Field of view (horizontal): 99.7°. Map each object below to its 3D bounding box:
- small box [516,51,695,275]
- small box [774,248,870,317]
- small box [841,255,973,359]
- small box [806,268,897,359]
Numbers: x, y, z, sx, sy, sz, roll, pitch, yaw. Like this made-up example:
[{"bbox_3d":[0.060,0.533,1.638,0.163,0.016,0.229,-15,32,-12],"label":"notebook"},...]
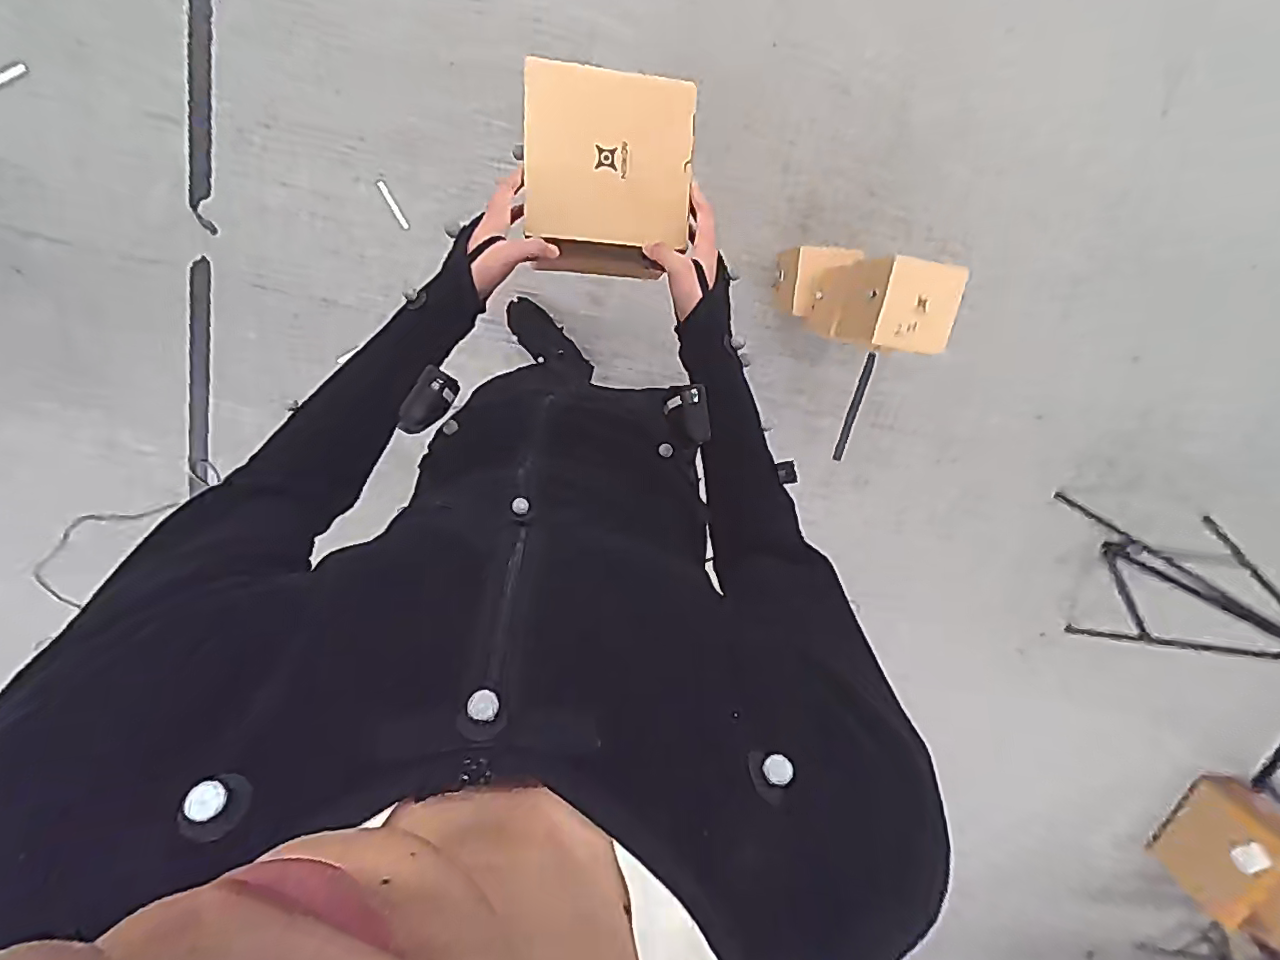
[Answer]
[{"bbox_3d":[-0.047,-0.338,0.614,0.179,0.176,0.168,0,100,-11],"label":"small box"},{"bbox_3d":[0.479,-0.523,1.445,0.179,0.176,0.168,1,109,-6],"label":"small box"},{"bbox_3d":[0.559,-0.369,1.159,0.168,0.176,0.179,8,108,-9],"label":"small box"},{"bbox_3d":[0.539,-0.409,1.318,0.179,0.176,0.168,15,106,-11],"label":"small box"}]
